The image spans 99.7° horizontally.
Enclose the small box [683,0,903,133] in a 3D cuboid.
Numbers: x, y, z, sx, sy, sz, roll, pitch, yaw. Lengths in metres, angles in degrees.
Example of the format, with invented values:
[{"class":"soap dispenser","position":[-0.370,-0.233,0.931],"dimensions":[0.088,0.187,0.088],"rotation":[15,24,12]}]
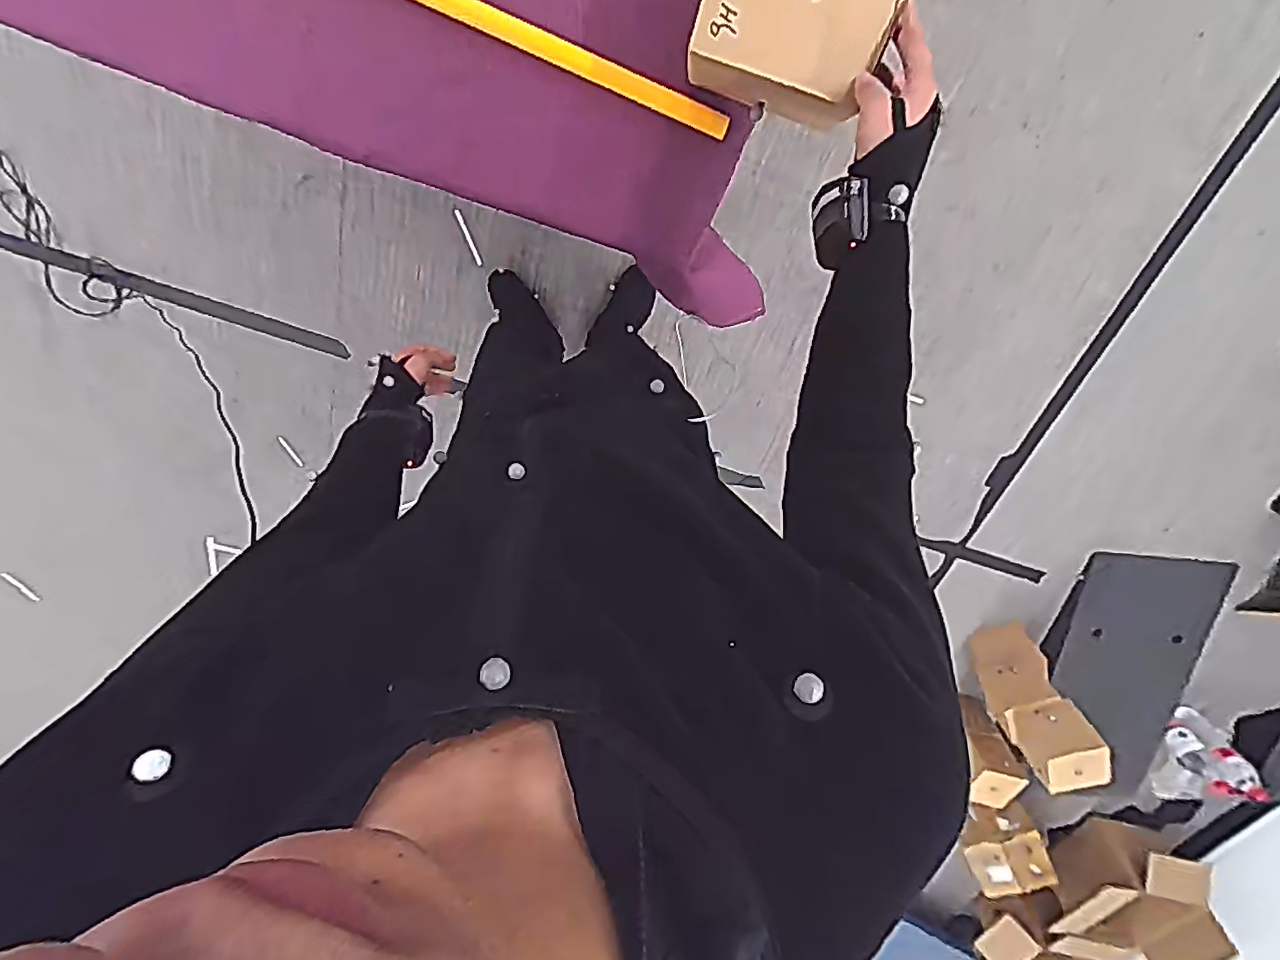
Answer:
[{"class":"small box","position":[0.153,-0.478,0.556],"dimensions":[0.179,0.176,0.168],"rotation":[18,118,-4]}]
